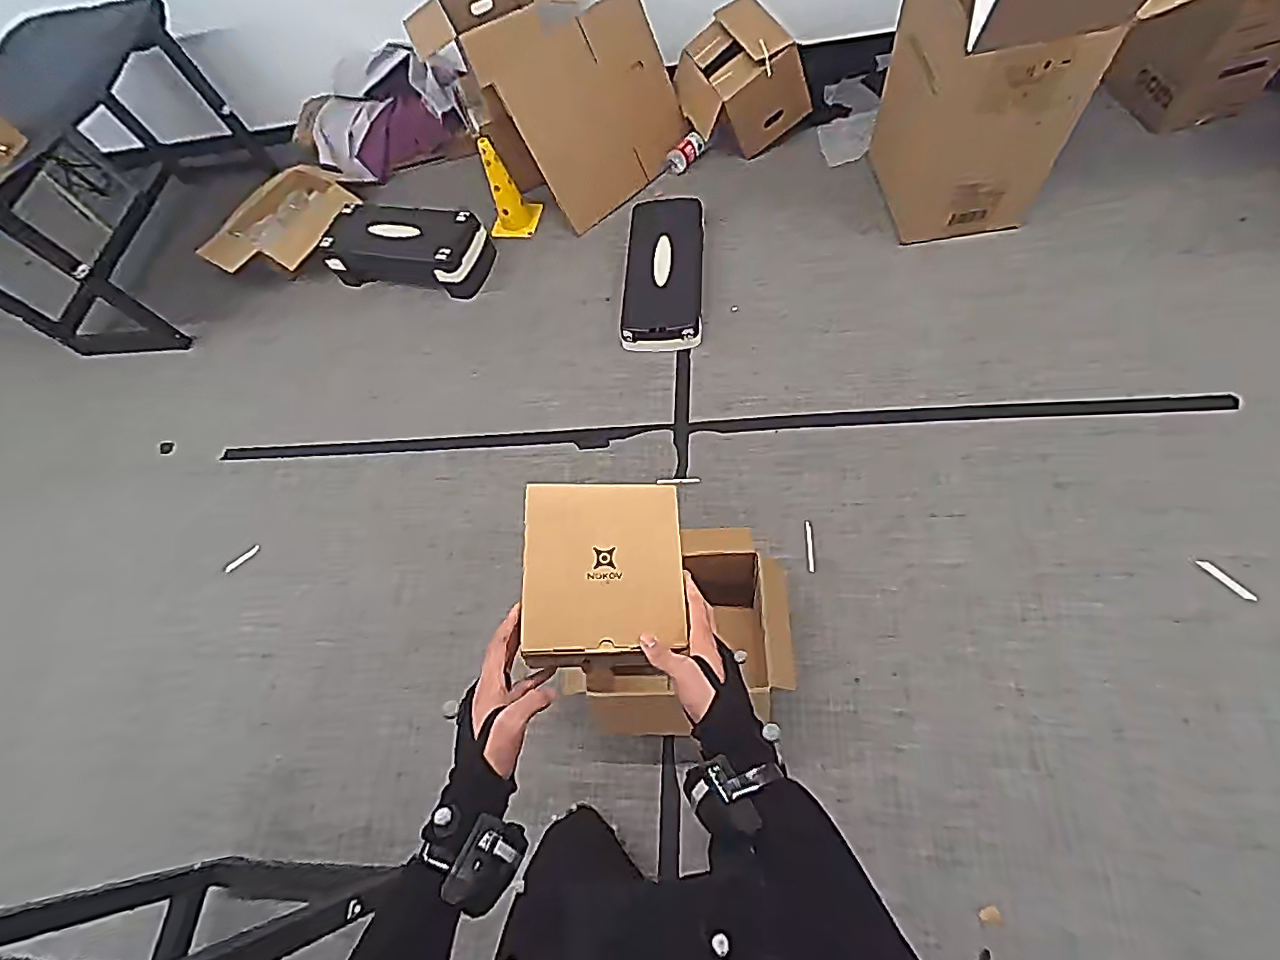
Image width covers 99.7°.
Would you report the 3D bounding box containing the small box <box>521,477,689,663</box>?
[{"bbox_3d":[-0.048,0.109,0.620,0.168,0.176,0.179,1,68,-9],"label":"small box"}]
